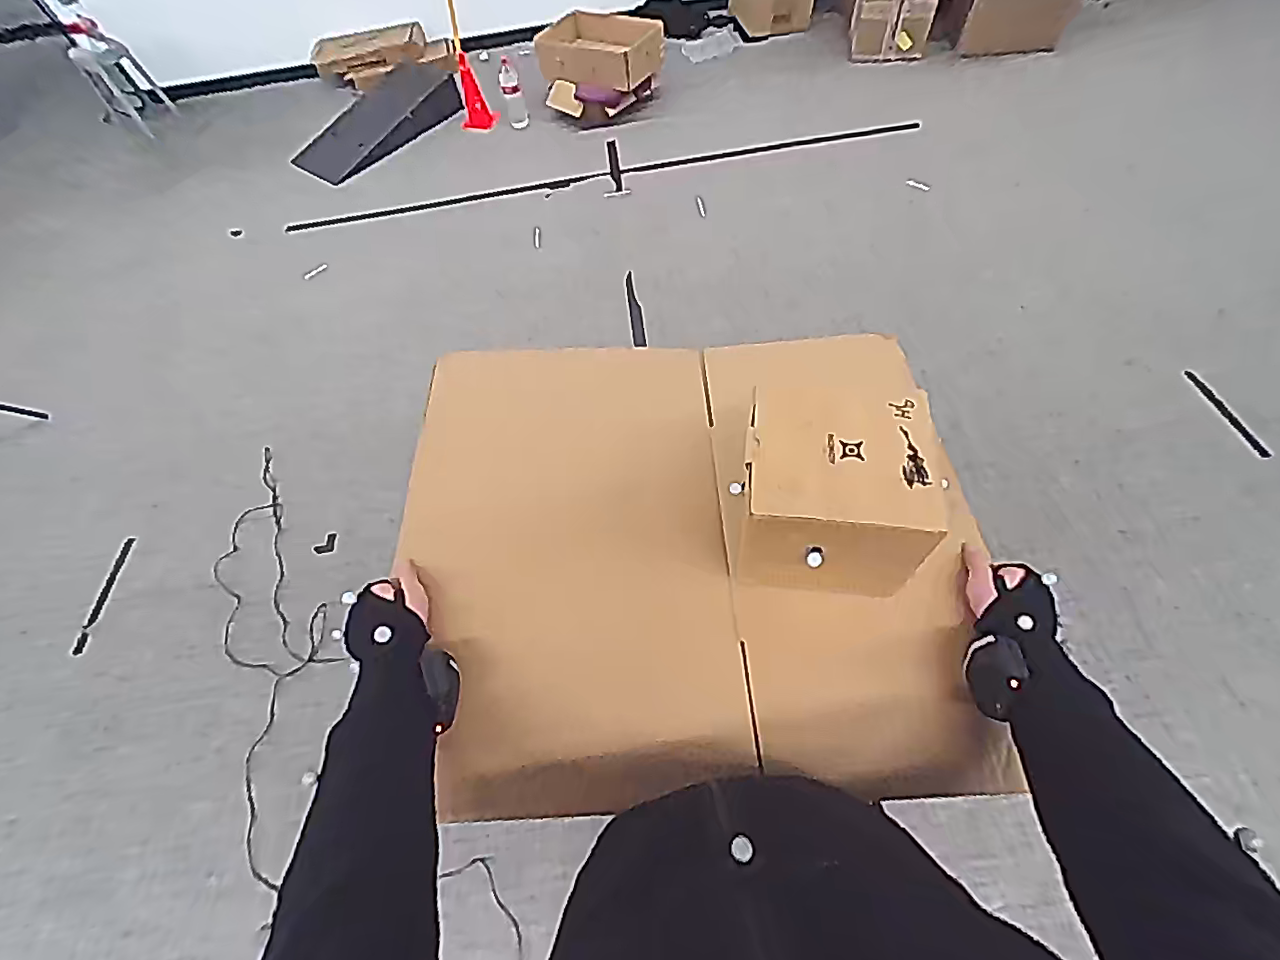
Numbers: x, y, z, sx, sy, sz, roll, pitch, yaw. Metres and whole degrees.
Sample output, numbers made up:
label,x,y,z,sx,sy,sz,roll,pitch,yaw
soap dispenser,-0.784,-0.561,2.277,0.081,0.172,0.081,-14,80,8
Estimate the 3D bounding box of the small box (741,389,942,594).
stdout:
label,x,y,z,sx,sy,sz,roll,pitch,yaw
small box,0.207,0.017,0.604,0.179,0.176,0.168,4,59,10
